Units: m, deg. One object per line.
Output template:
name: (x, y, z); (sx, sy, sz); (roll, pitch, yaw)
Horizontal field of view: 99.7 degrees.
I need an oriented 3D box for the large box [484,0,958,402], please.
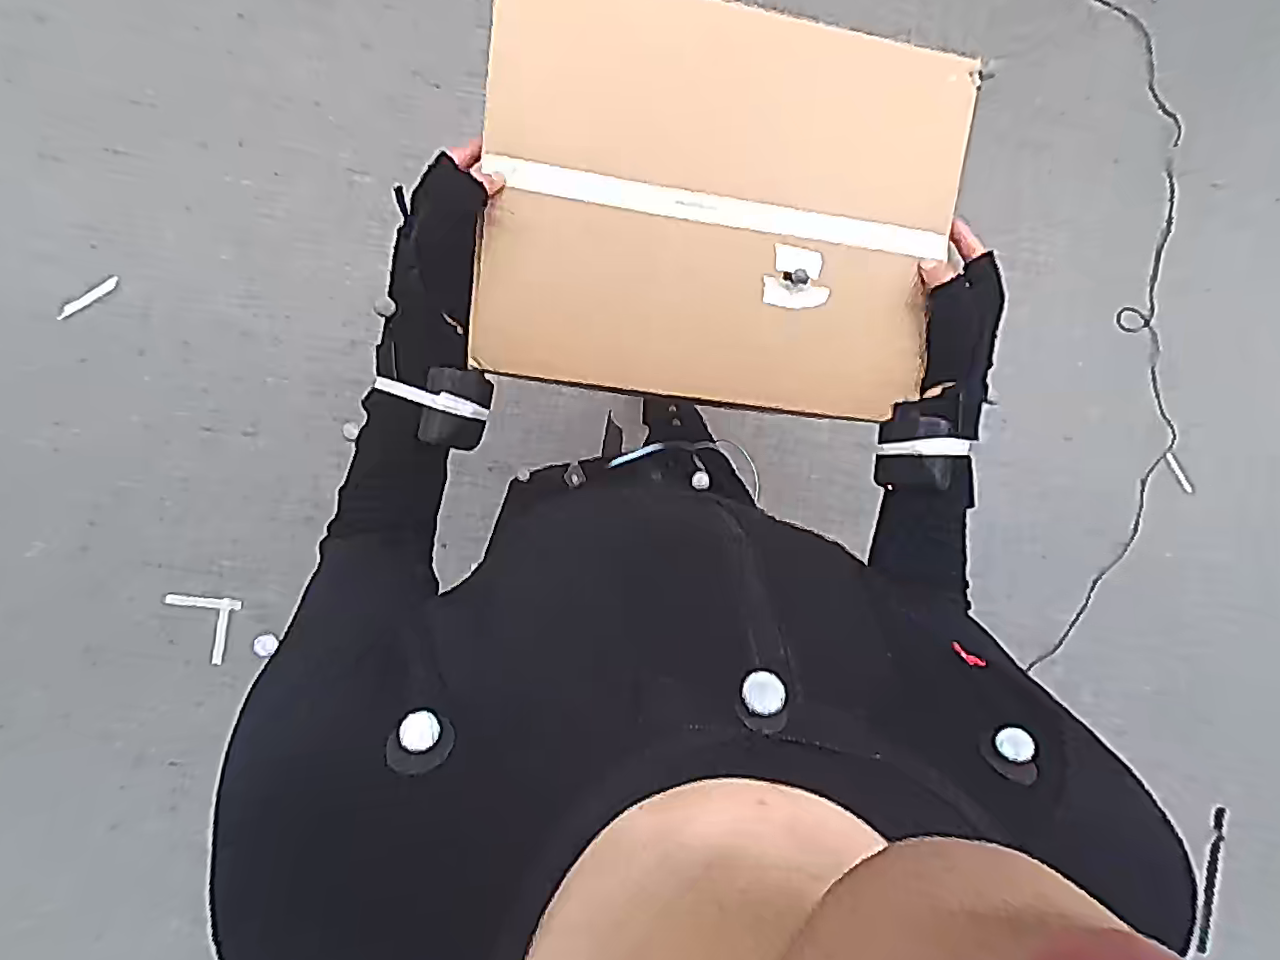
large box: (0.053, -0.265, 0.618); (0.408, 0.320, 0.320); (5, 100, -9)
